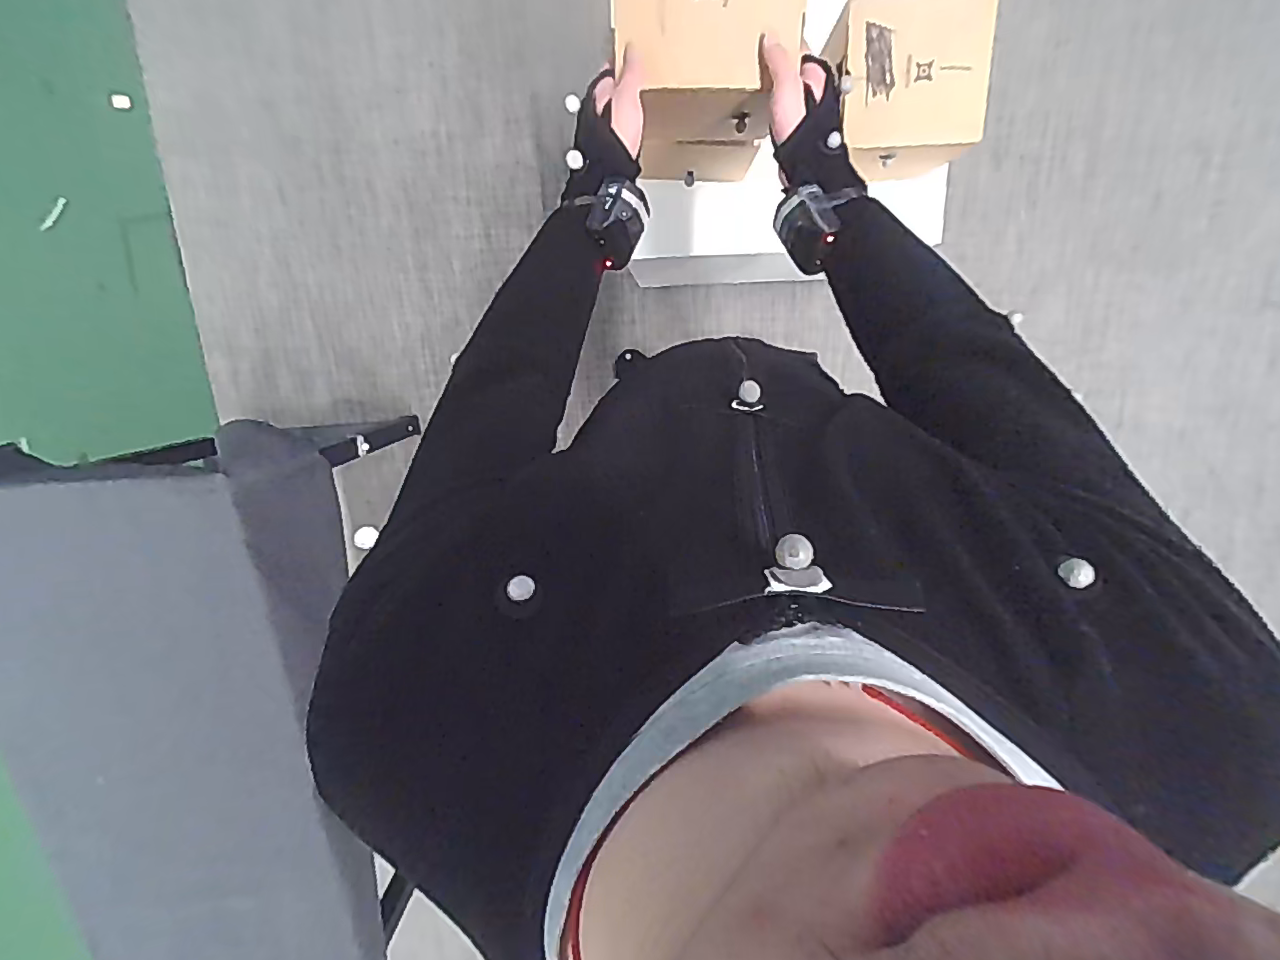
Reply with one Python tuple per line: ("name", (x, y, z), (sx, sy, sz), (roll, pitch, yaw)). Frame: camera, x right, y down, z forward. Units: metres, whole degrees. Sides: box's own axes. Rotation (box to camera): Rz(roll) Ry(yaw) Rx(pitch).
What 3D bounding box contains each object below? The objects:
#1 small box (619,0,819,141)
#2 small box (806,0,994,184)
("small box", (0.068, -0.458, 0.541), (0.179, 0.176, 0.168), (-1, 107, 0))
("small box", (0.333, -0.514, 0.732), (0.179, 0.176, 0.168), (-2, 104, 1))
